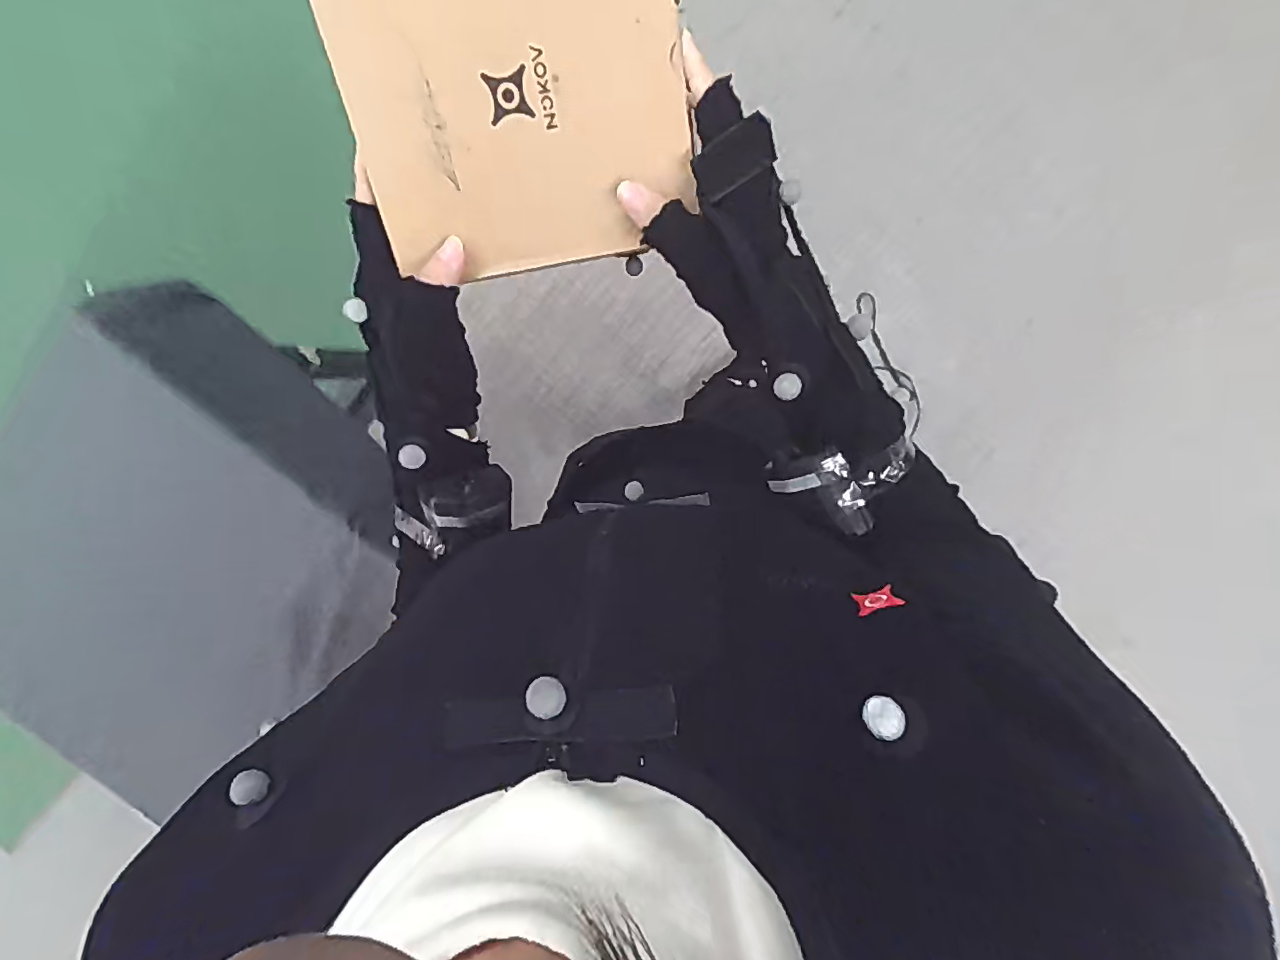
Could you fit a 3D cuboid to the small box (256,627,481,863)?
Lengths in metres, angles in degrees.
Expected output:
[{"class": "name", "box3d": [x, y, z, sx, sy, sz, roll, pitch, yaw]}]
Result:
[{"class": "small box", "box3d": [-0.329, 0.325, 0.699, 0.168, 0.176, 0.179, 37, 101, -3]}]

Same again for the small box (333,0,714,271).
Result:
[{"class": "small box", "box3d": [-0.056, -0.238, 0.349, 0.179, 0.176, 0.168, -9, 111, 5]}]
